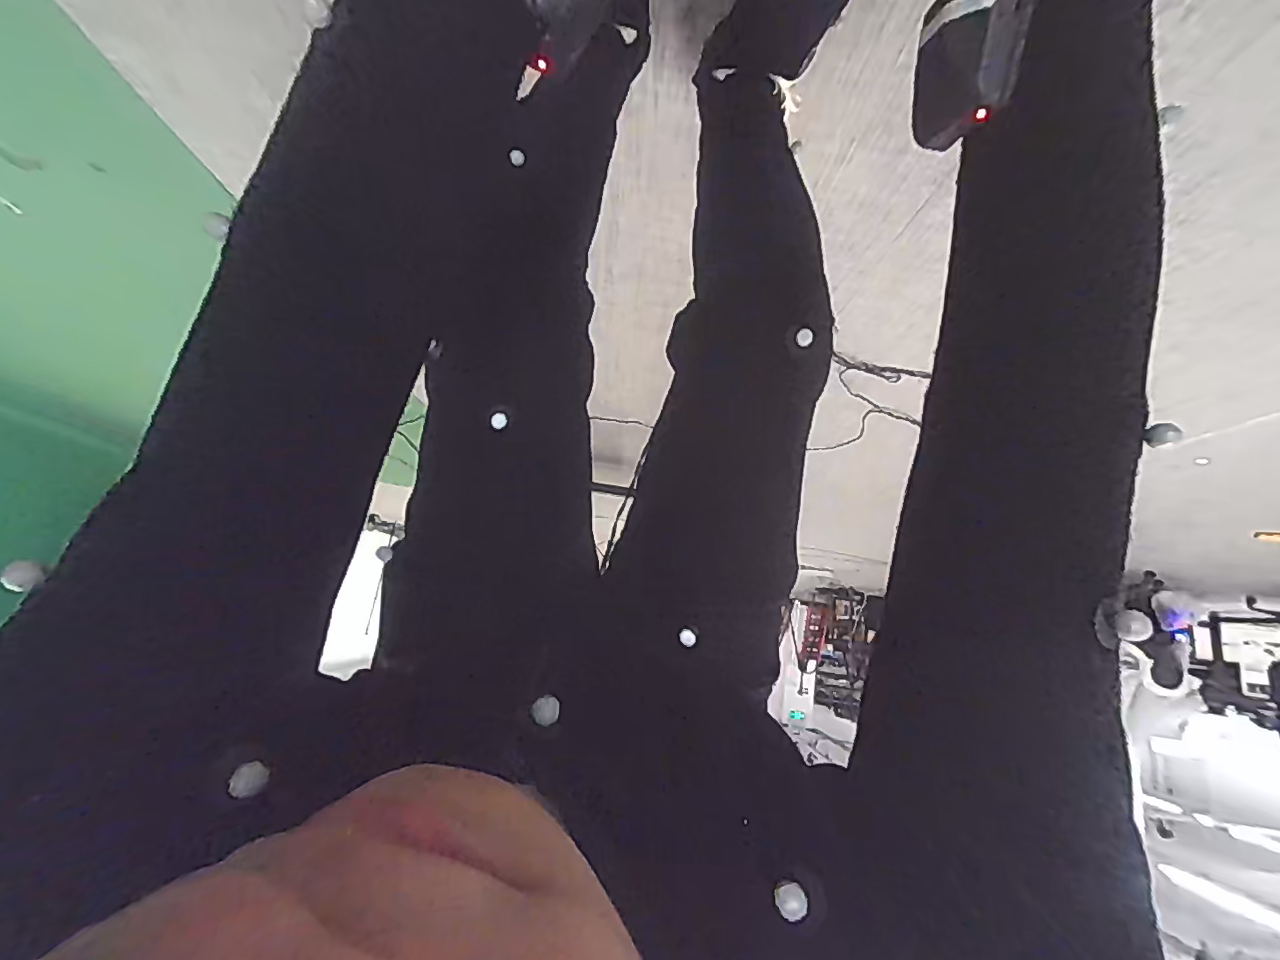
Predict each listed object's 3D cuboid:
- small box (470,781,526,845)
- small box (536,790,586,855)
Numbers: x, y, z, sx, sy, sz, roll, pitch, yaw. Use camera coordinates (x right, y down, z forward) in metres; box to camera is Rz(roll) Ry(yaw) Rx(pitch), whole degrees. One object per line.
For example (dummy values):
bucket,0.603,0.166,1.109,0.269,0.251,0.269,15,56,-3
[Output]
small box,-0.560,1.315,2.151,0.168,0.176,0.179,8,166,-1
small box,-0.309,1.353,2.153,0.168,0.176,0.179,8,168,0
